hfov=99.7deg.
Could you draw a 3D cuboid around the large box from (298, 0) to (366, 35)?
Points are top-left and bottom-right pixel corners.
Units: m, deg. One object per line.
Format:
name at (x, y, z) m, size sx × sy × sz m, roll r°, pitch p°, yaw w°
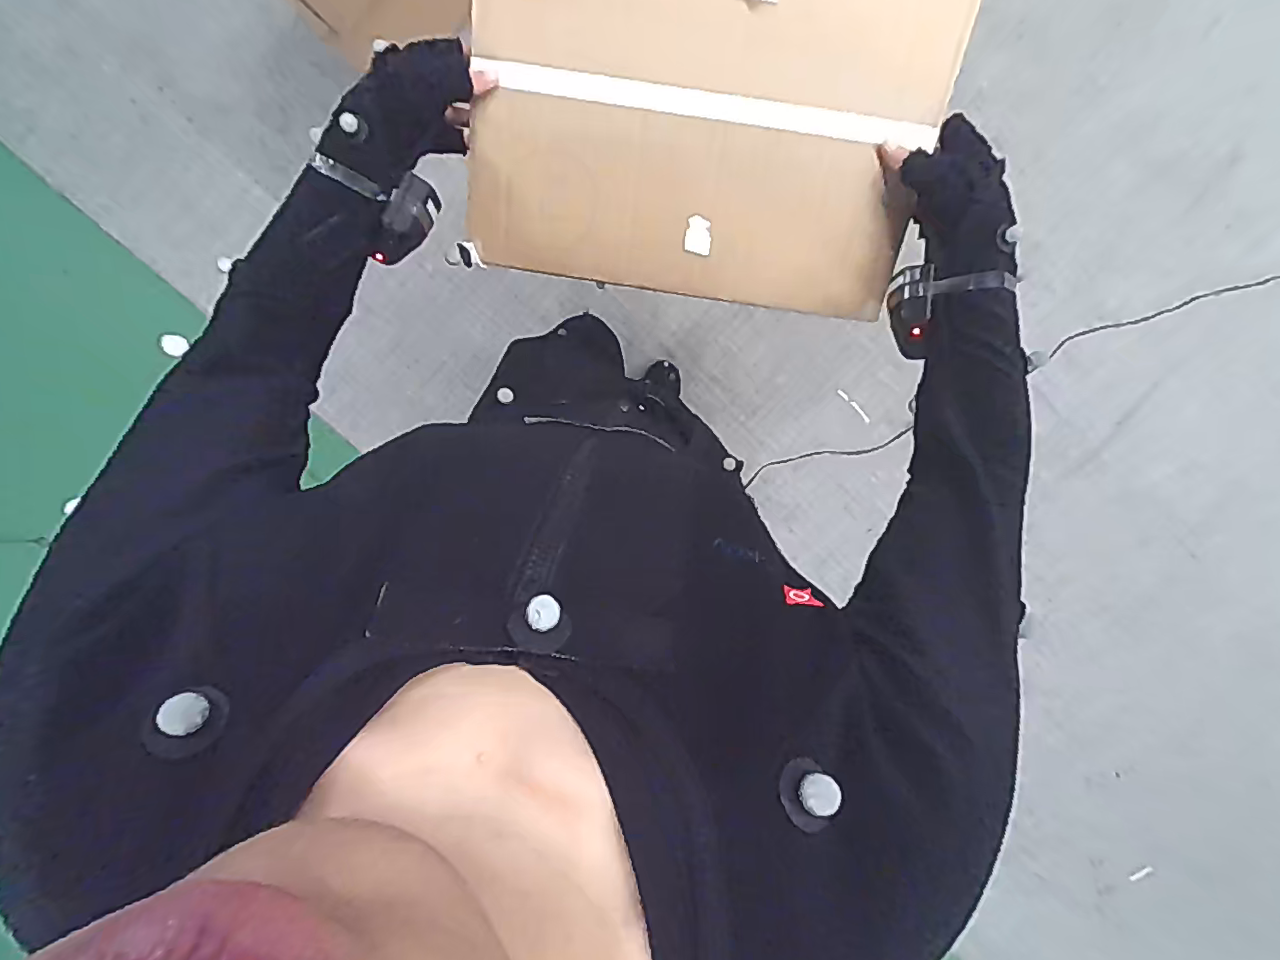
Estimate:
large box at (-0.538, -1.024, 0.800) m, size 0.320 × 0.320 × 0.408 m, roll 41°, pitch 102°, yaw -8°
